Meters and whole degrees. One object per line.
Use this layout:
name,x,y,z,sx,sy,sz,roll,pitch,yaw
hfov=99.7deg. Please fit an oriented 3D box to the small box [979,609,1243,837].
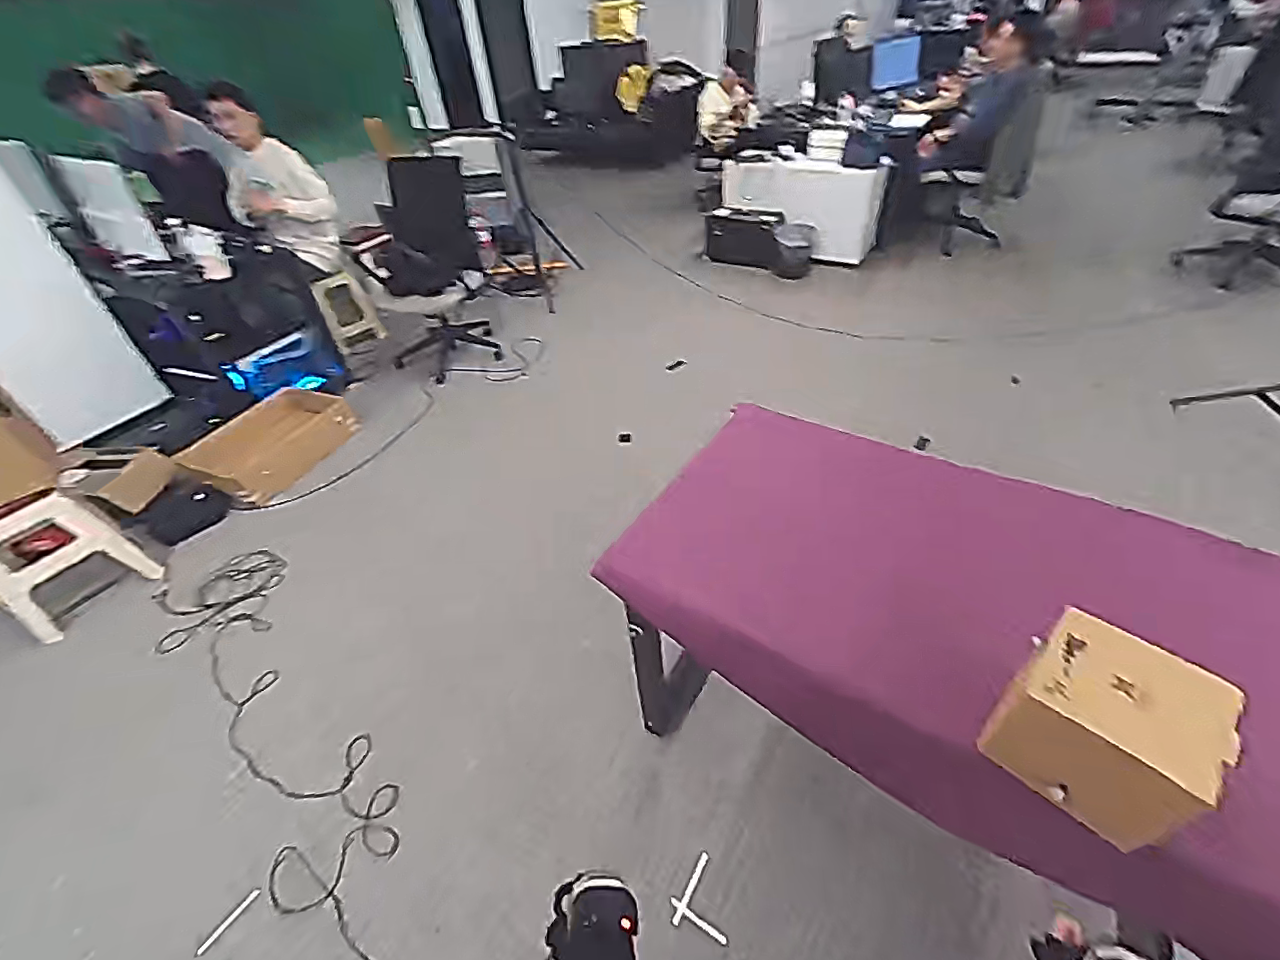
small box,0.570,0.305,0.675,0.168,0.176,0.179,-34,49,-29
